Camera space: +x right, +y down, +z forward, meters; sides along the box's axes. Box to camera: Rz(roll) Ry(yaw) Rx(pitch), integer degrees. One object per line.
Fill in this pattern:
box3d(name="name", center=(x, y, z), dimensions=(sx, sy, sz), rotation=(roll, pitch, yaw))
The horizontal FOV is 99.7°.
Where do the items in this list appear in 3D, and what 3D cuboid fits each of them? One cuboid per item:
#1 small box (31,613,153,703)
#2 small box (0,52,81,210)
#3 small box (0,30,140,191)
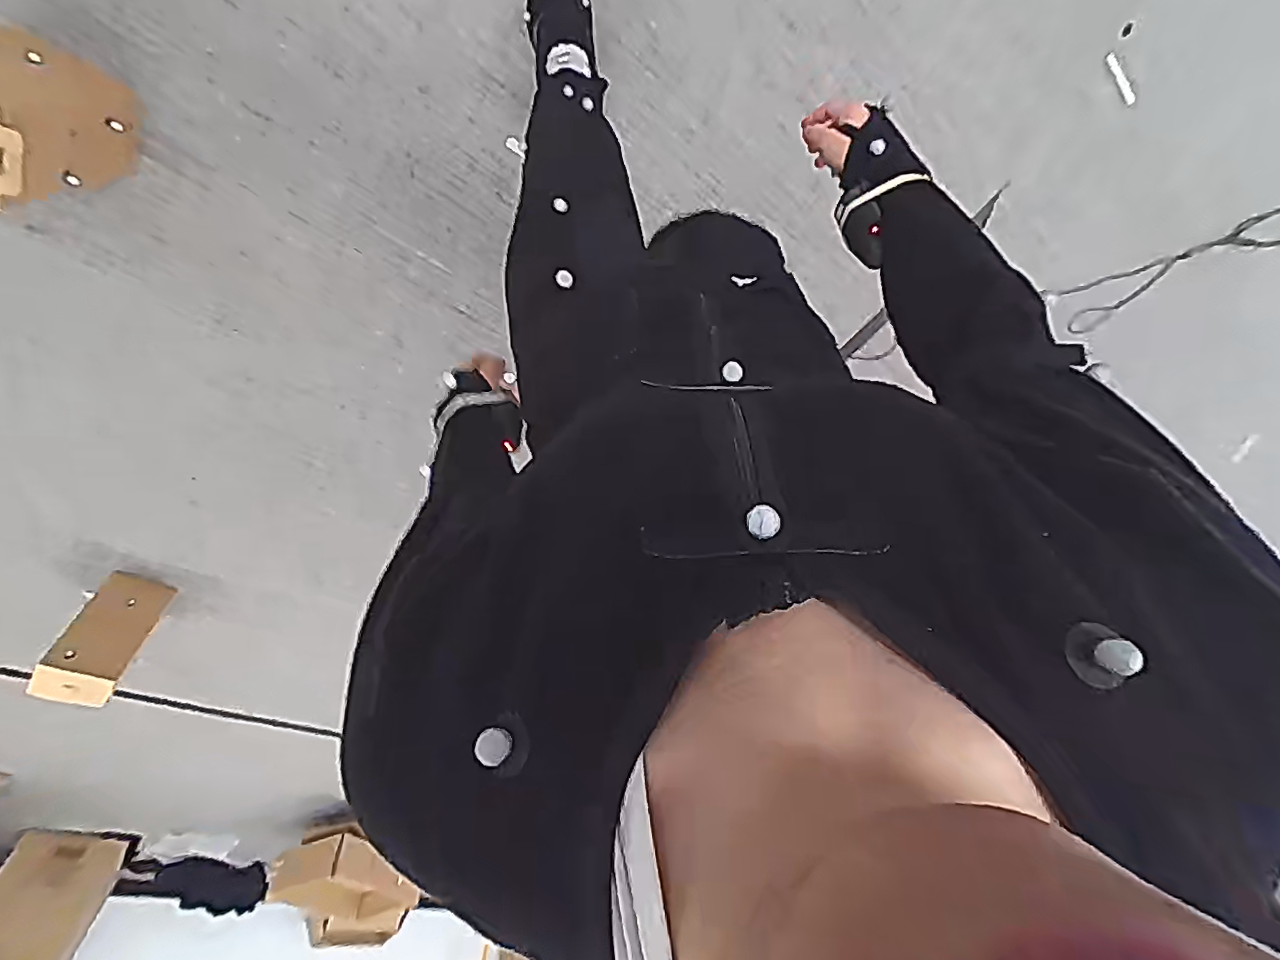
box3d(name="small box", center=(-1.579, 0.511, 1.565), dimensions=(0.179, 0.176, 0.168), rotation=(31, 119, -30))
box3d(name="small box", center=(-1.001, -0.547, 0.811), dimensions=(0.179, 0.176, 0.168), rotation=(24, 121, -25))
box3d(name="small box", center=(-1.026, -0.646, 0.941), dimensions=(0.179, 0.176, 0.168), rotation=(24, 120, -24))
